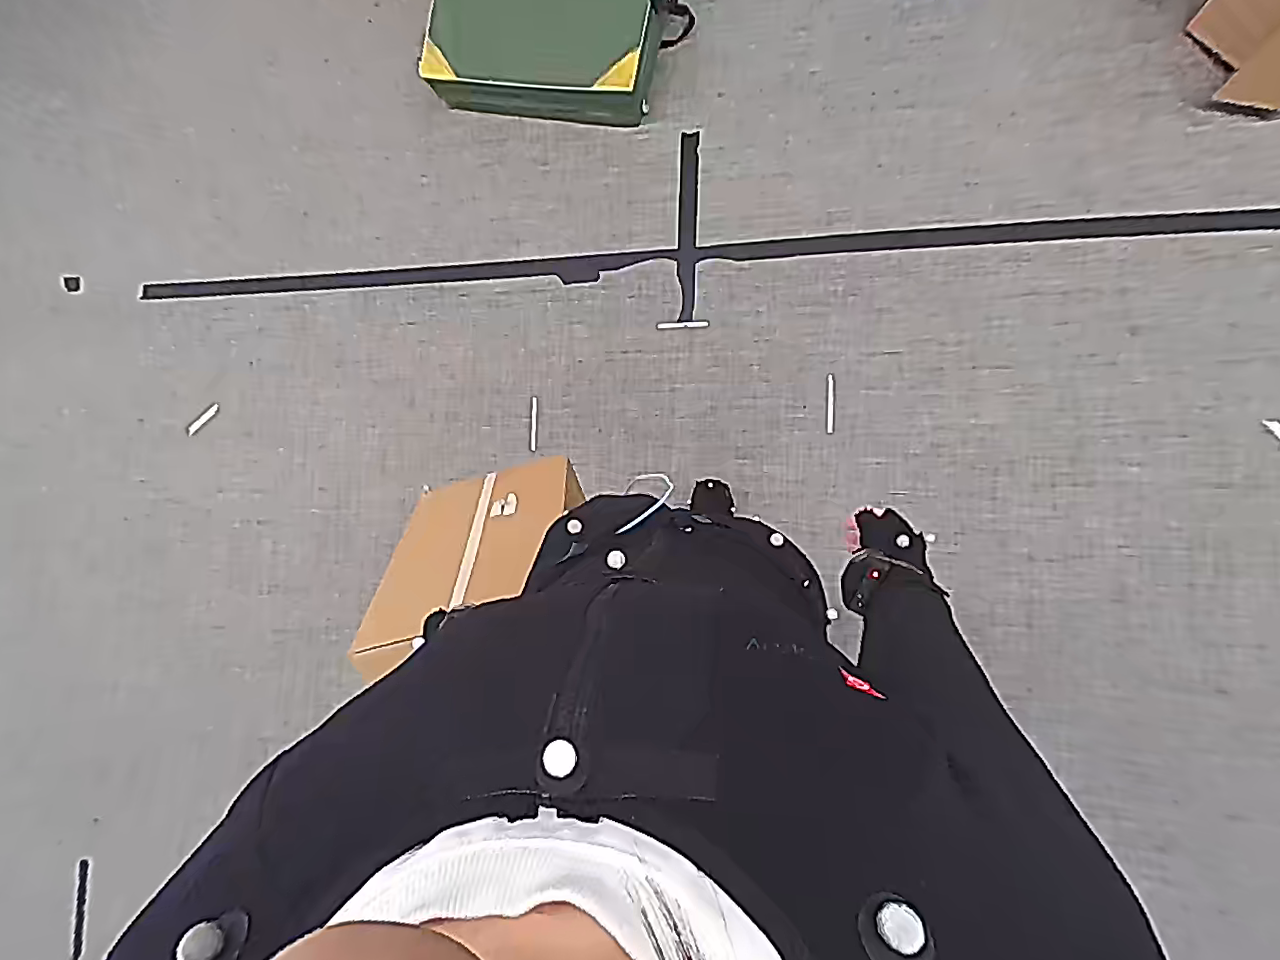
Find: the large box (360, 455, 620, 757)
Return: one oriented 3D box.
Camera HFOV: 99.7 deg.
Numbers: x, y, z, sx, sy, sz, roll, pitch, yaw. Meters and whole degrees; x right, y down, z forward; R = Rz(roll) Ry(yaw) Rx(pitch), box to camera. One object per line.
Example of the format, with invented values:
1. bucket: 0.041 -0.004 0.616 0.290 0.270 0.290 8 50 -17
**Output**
1. large box: -0.233 0.215 0.998 0.320 0.408 0.320 -14 123 4
